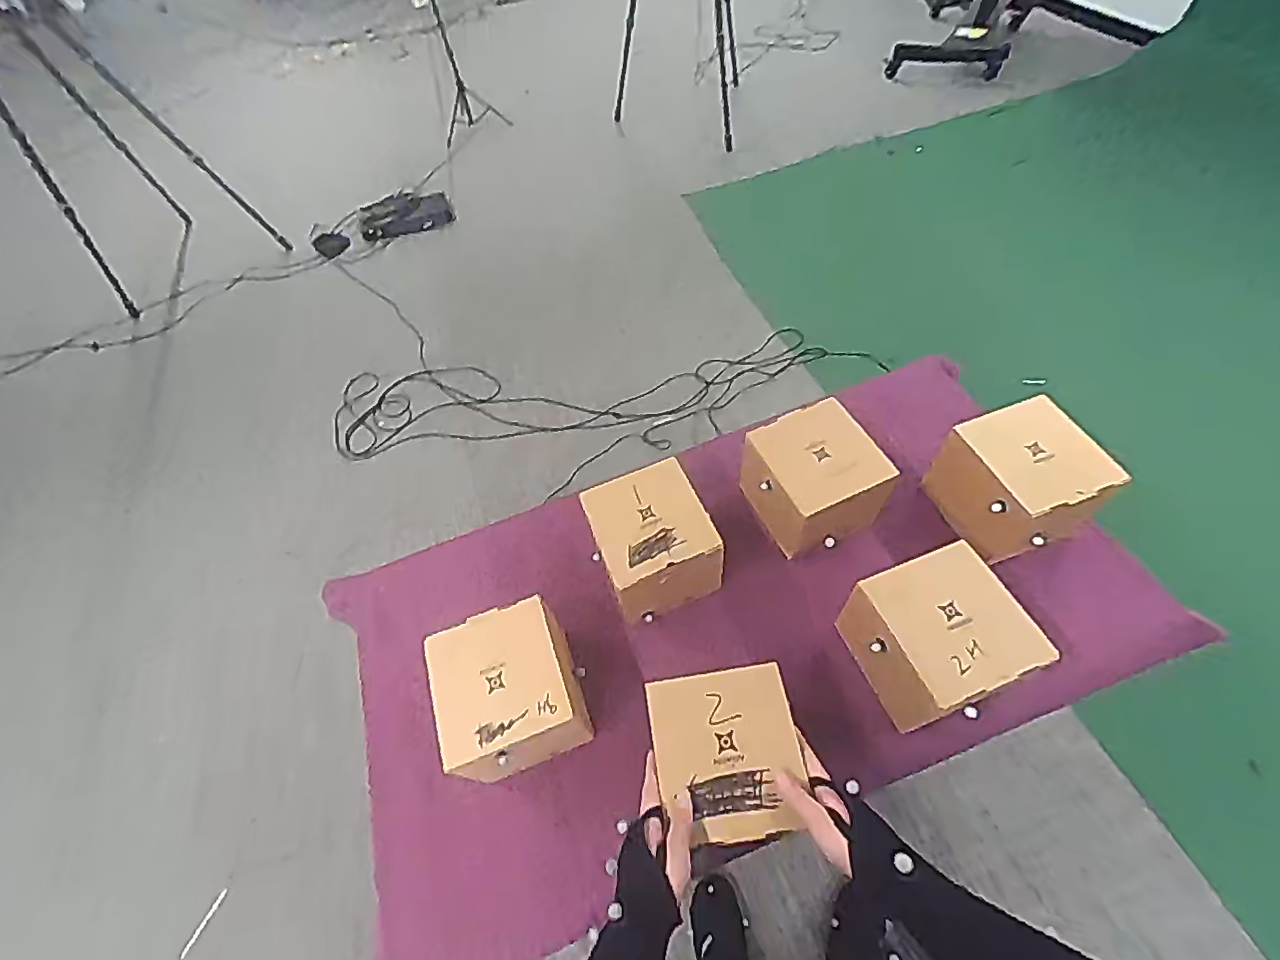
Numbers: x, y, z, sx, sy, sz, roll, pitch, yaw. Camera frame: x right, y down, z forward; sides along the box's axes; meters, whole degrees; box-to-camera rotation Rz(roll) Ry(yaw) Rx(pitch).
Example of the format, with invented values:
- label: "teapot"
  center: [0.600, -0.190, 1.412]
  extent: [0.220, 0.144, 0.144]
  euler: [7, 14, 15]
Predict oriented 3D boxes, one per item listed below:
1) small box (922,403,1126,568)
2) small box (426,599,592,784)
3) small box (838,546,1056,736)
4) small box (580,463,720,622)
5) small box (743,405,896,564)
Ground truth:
- label: "small box"
  center: [0.593, 0.013, 0.869]
  extent: [0.168, 0.176, 0.179]
  euler: [-19, 57, -6]
- label: "small box"
  center: [-0.179, 0.301, 0.761]
  extent: [0.168, 0.176, 0.179]
  euler: [-21, 56, -6]
- label: "small box"
  center: [0.399, 0.225, 0.746]
  extent: [0.168, 0.176, 0.179]
  euler: [-20, 55, -6]
- label: "small box"
  center: [0.020, 0.109, 0.870]
  extent: [0.168, 0.176, 0.179]
  euler: [-21, 56, -8]
- label: "small box"
  center: [0.284, 0.011, 0.907]
  extent: [0.168, 0.176, 0.179]
  euler: [-22, 58, -7]
